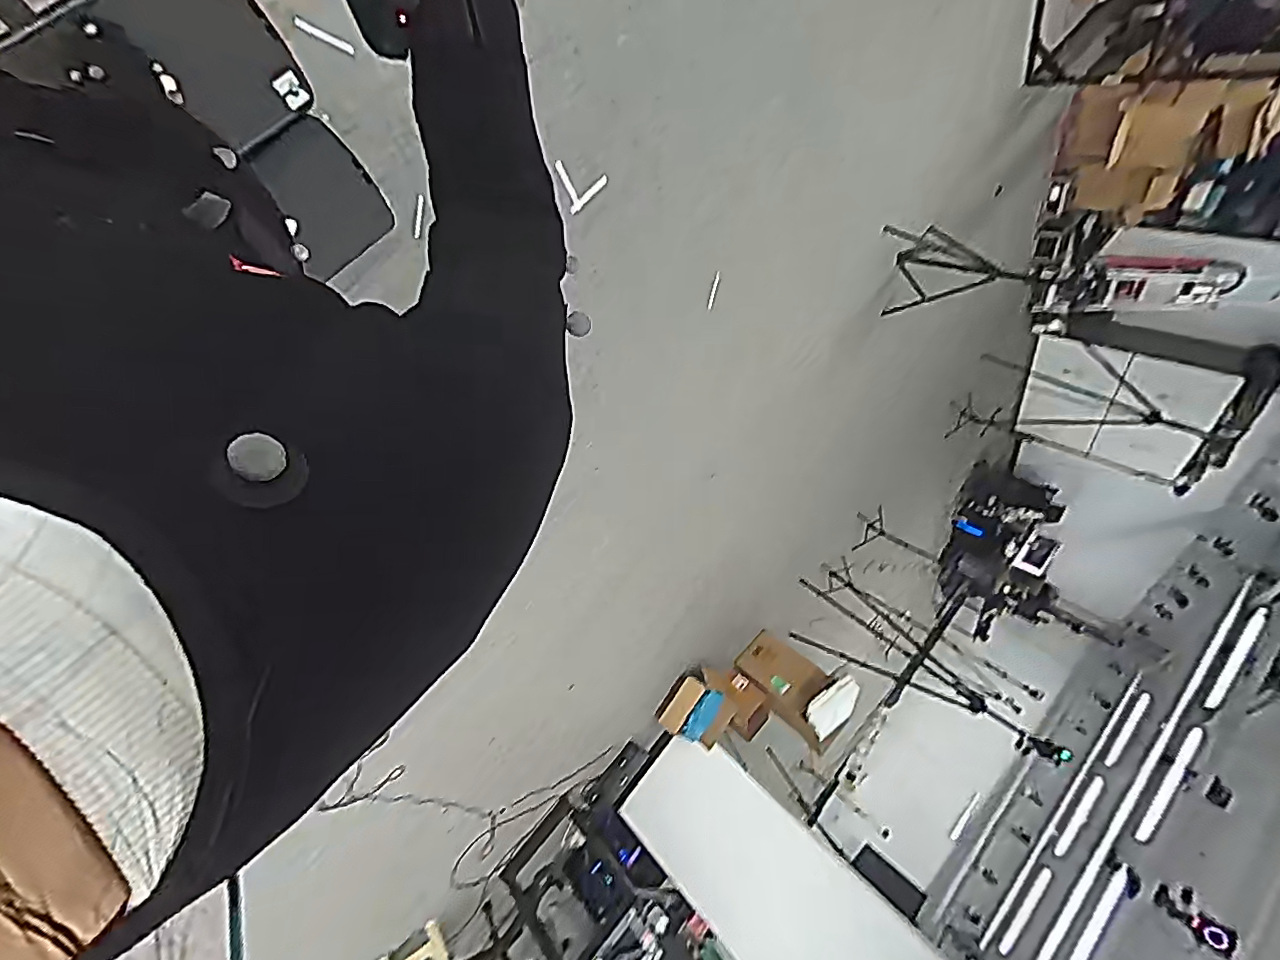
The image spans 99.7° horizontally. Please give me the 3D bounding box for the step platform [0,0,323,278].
[{"bbox_3d":[-0.950,-0.691,0.994,0.684,0.204,0.286,-49,141,-13],"label":"step platform"}]
